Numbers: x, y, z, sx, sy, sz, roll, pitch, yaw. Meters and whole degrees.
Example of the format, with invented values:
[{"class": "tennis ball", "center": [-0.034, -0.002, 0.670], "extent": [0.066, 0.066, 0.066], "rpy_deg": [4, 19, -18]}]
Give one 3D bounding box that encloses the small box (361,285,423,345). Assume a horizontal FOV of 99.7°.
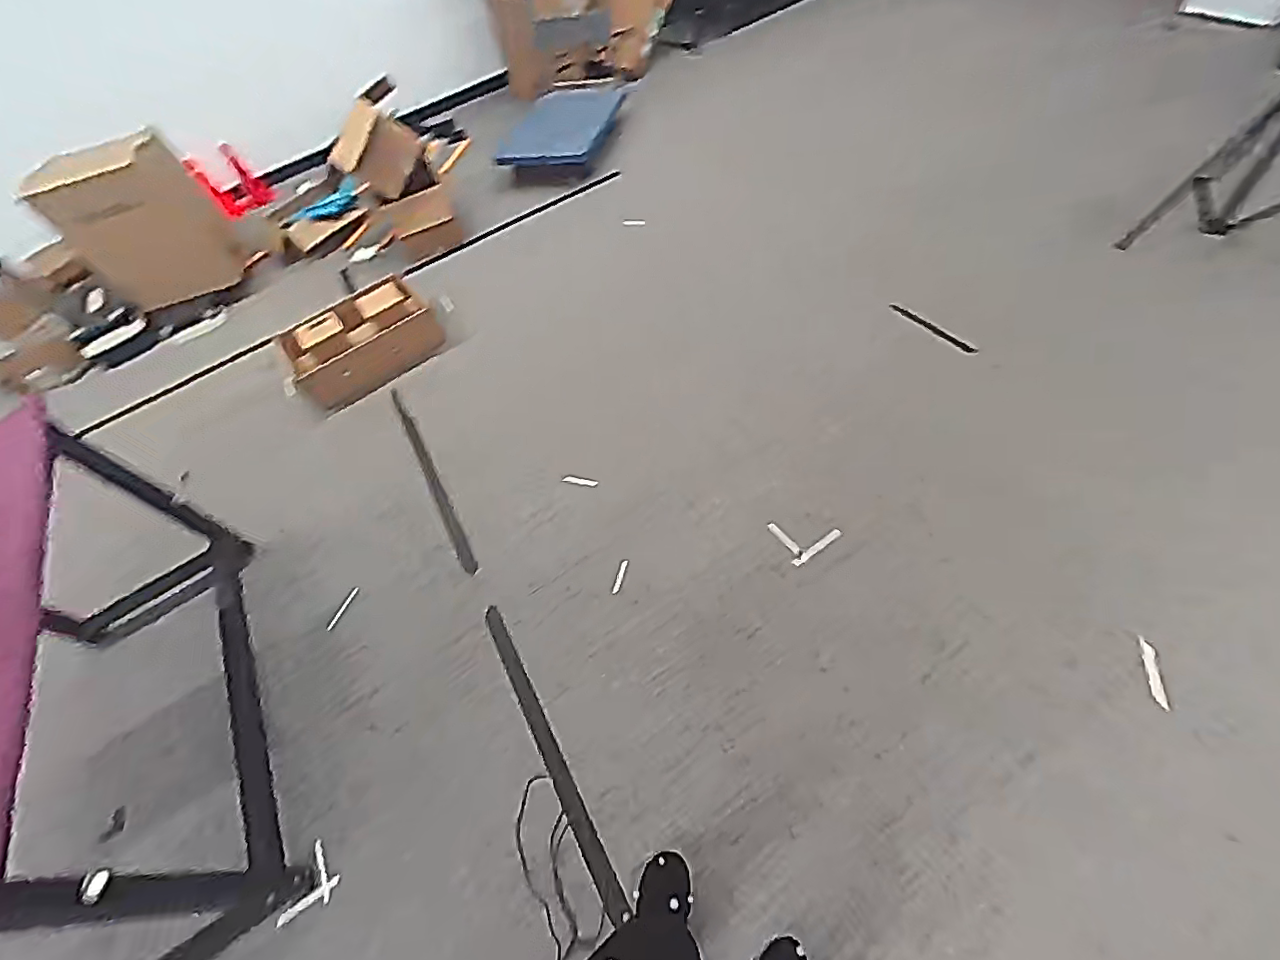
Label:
[{"class": "small box", "center": [-1.098, -0.725, 2.404], "extent": [0.168, 0.176, 0.179], "rpy_deg": [-34, 54, -13]}]
